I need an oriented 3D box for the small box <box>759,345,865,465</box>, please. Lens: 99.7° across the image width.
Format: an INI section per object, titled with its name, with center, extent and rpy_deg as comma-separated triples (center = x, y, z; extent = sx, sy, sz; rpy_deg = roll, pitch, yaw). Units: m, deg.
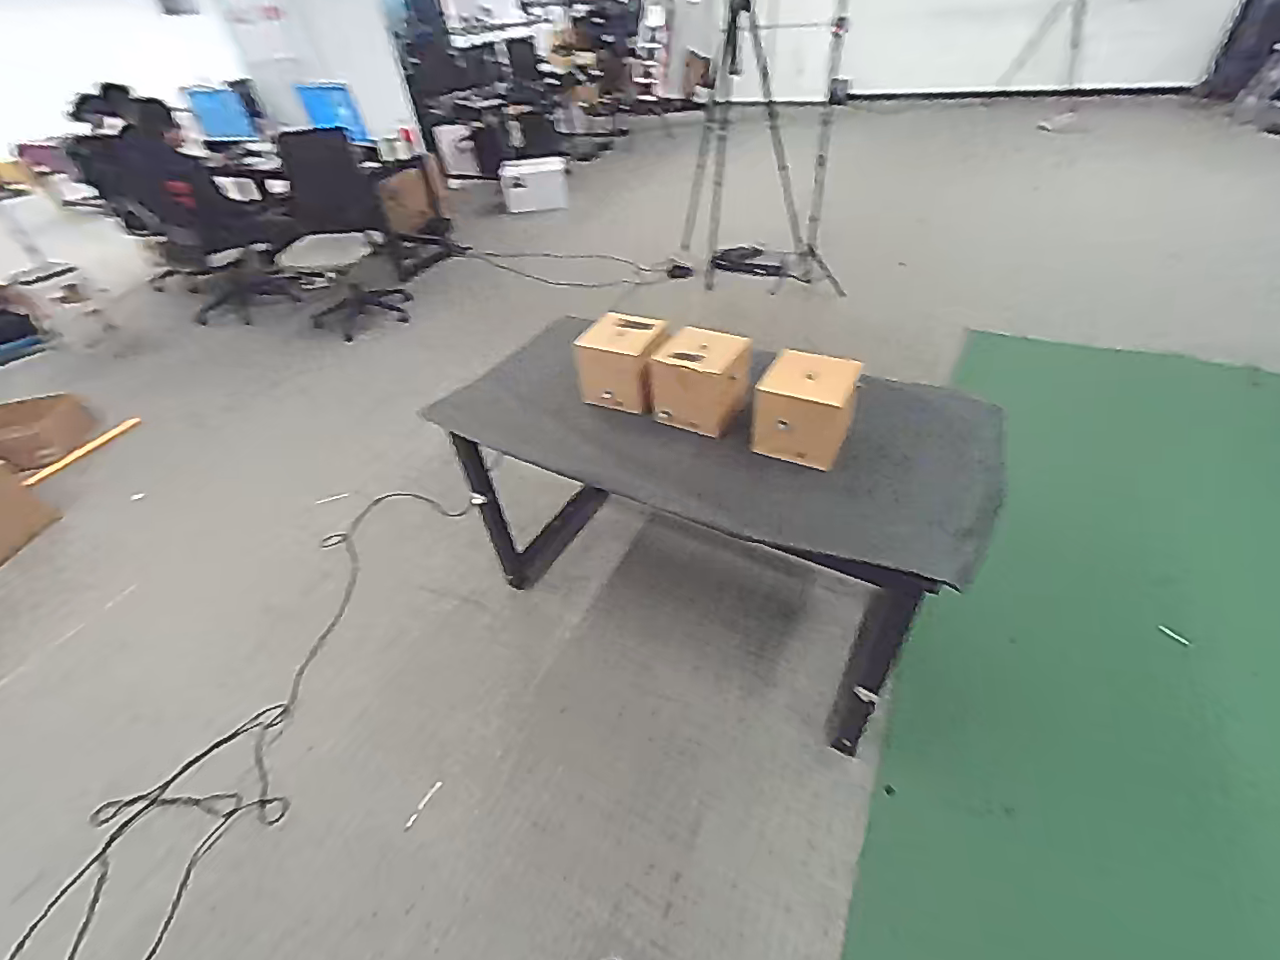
[small box]
center = 0.356, -0.157, 1.138
extent = 0.168, 0.176, 0.179
rpy_deg = 18, 47, 24
